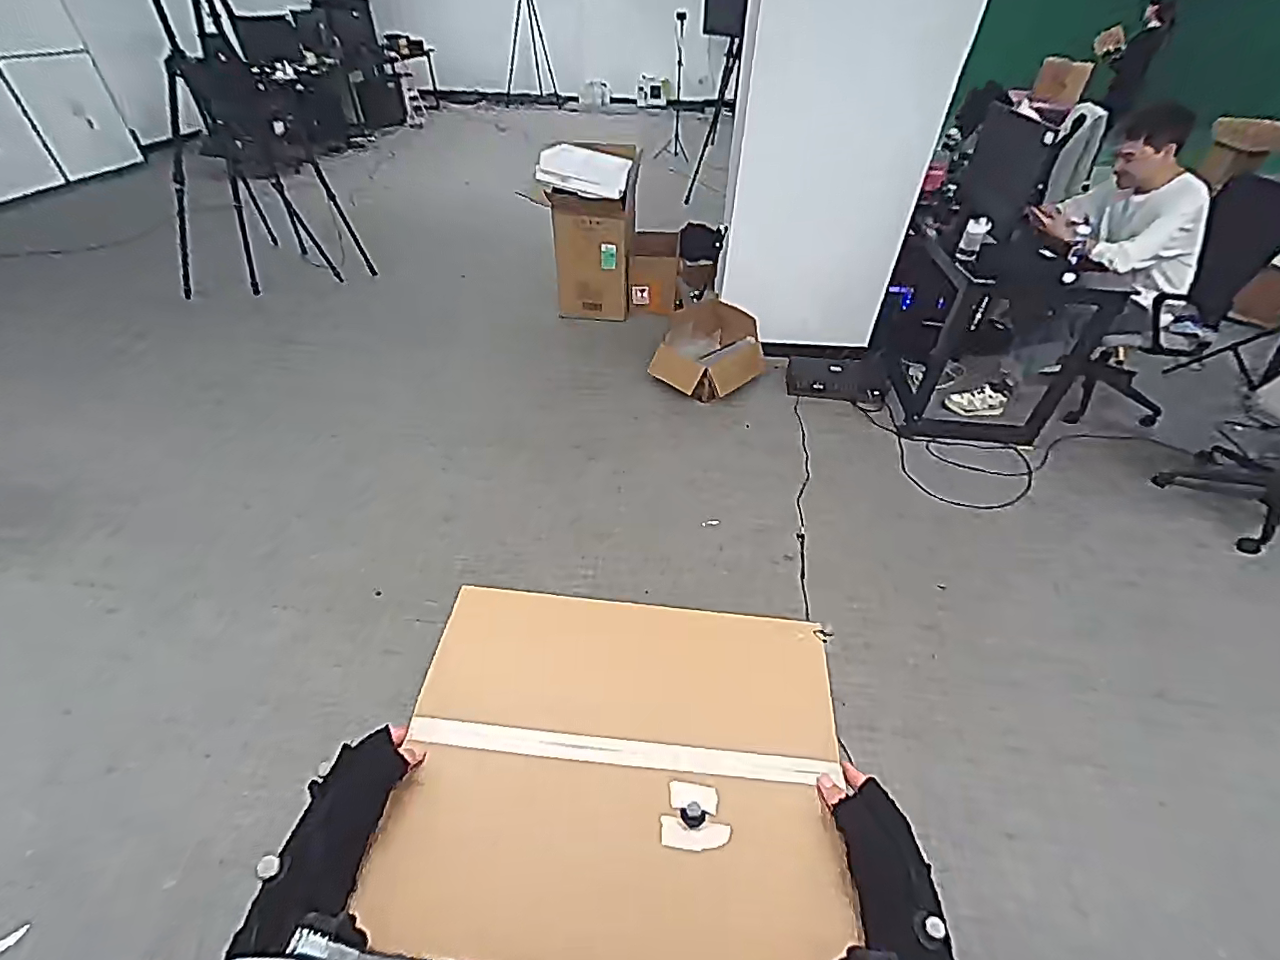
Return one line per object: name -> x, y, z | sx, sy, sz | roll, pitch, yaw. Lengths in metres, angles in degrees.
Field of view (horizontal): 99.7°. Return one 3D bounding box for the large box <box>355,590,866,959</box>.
large box -> -0.020, 0.356, 0.619 | 0.408, 0.320, 0.320 | 6, 48, 2
